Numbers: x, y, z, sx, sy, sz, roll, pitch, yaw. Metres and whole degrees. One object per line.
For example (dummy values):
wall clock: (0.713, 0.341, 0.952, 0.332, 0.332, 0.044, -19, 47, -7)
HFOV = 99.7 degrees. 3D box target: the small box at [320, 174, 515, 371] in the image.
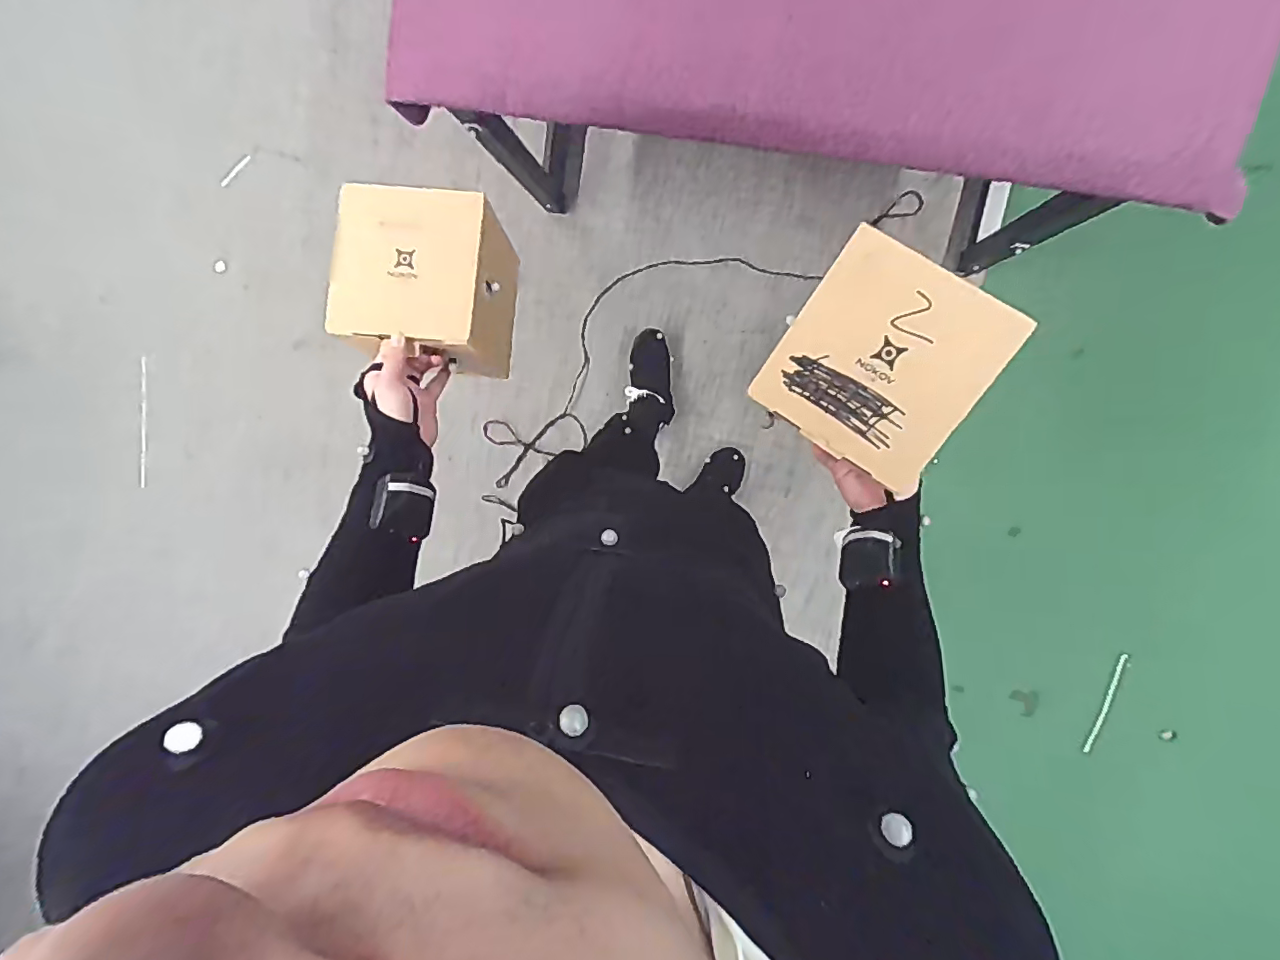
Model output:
small box: (-0.262, -0.244, 0.677, 0.168, 0.176, 0.179, 6, 86, 1)
